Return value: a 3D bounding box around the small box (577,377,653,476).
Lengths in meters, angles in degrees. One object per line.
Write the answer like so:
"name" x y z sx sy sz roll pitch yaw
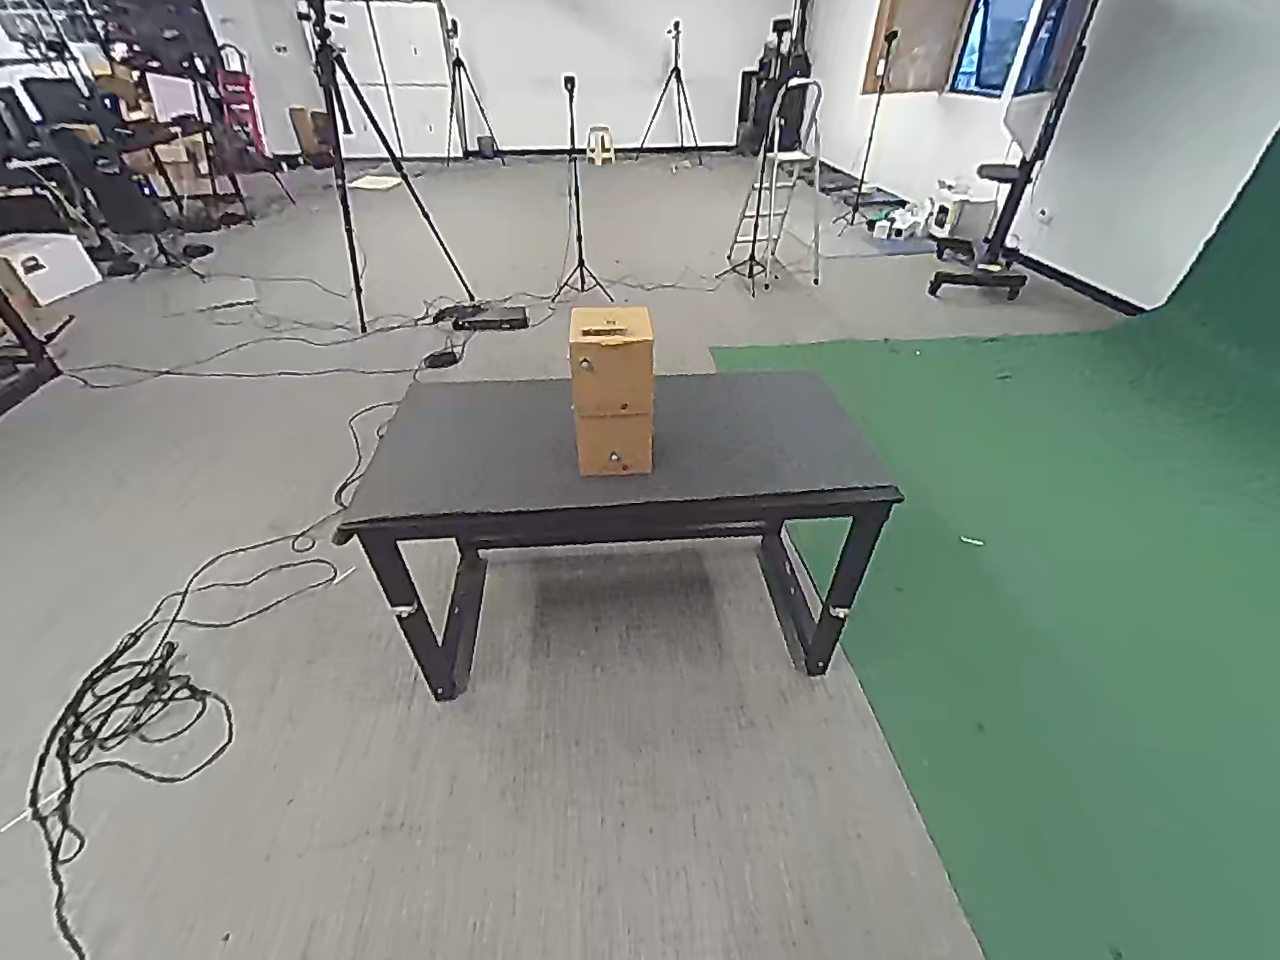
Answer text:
"small box" -0.058 -0.126 1.261 0.168 0.176 0.179 -2 38 -2
